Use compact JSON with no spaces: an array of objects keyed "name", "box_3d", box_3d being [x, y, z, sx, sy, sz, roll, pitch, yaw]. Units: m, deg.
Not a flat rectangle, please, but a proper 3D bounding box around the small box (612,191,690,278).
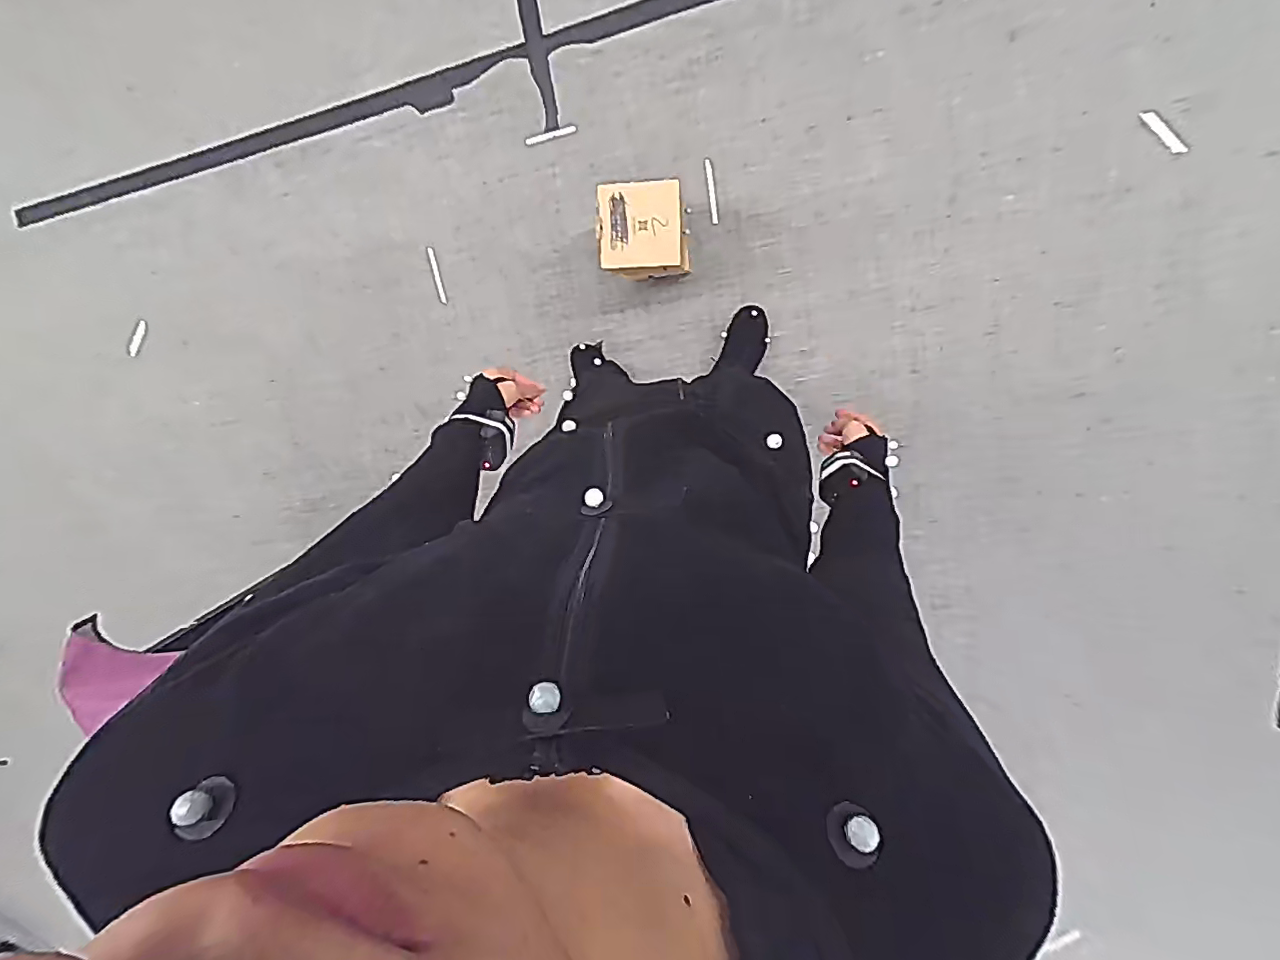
[{"name":"small box","box_3d":[0.034,-0.612,1.368,0.168,0.176,0.179,-4,107,10]}]
